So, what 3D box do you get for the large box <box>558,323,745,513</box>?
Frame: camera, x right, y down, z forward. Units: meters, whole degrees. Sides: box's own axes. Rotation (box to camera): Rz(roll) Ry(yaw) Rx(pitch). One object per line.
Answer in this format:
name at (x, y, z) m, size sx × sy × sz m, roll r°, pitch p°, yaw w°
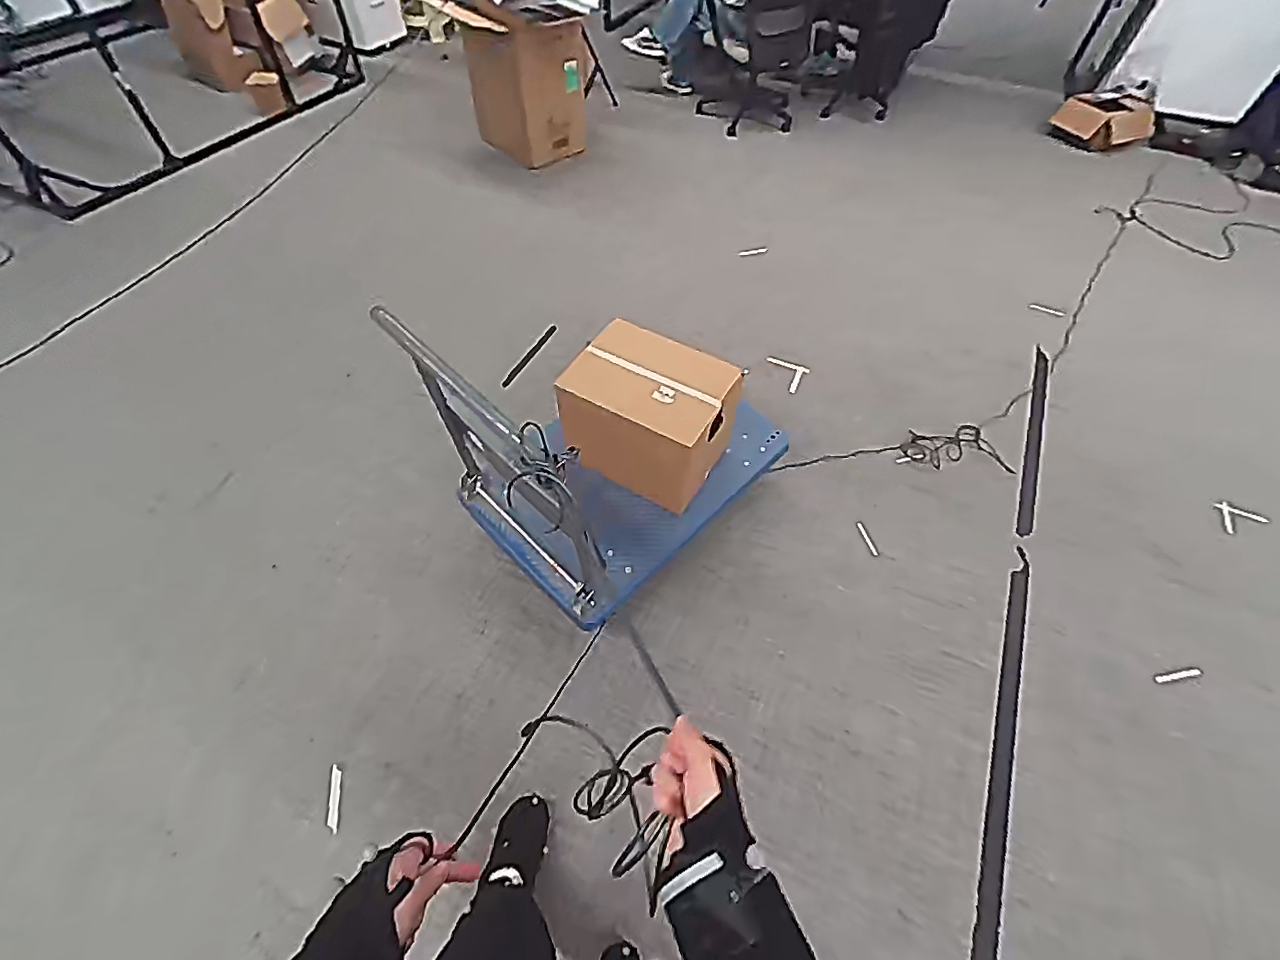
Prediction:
large box at (0.026, -0.175, 1.529) m, size 0.408 × 0.320 × 0.320 m, roll 27°, pitch 59°, yaw 16°
